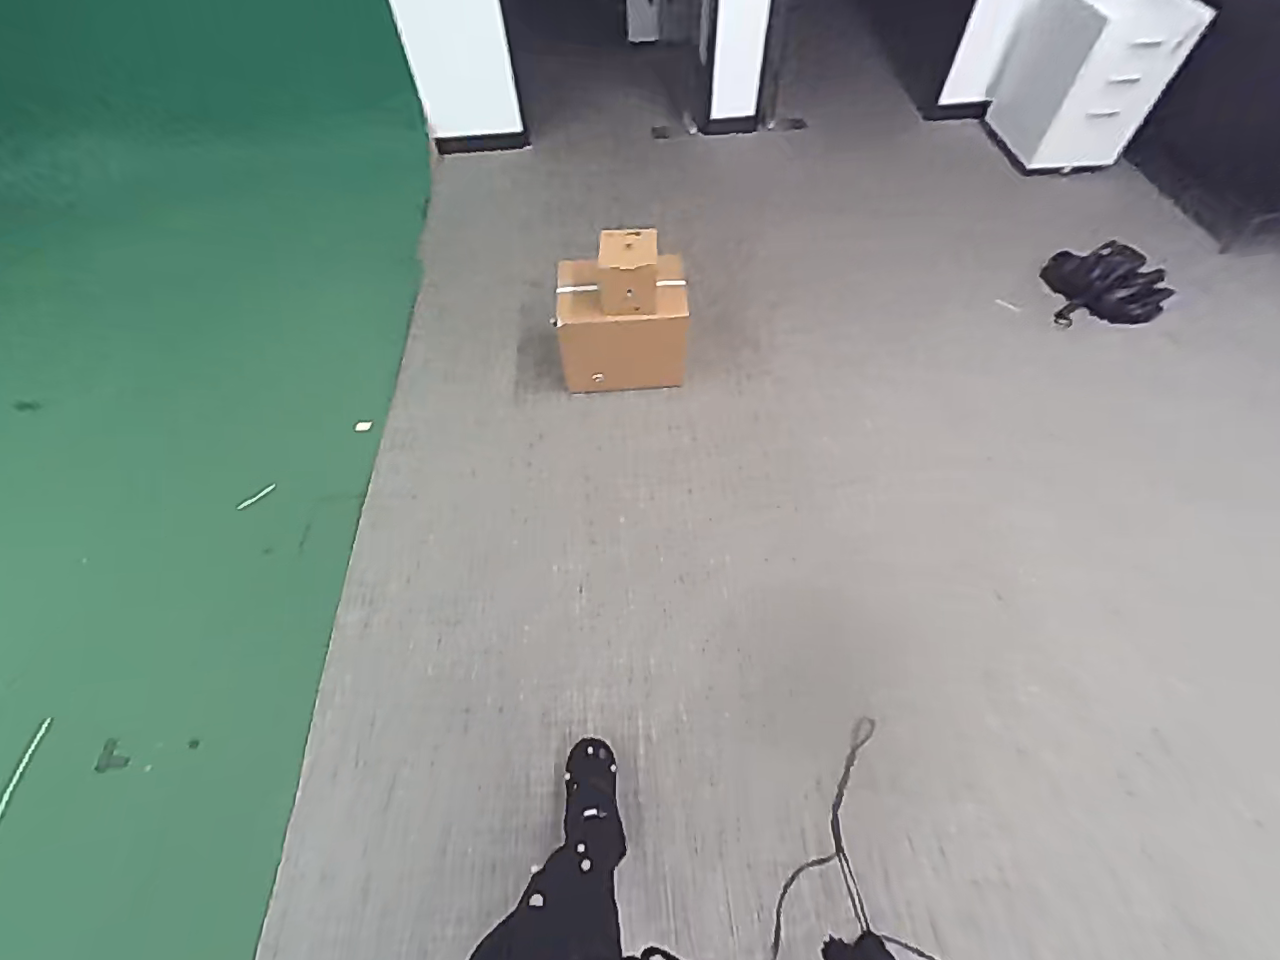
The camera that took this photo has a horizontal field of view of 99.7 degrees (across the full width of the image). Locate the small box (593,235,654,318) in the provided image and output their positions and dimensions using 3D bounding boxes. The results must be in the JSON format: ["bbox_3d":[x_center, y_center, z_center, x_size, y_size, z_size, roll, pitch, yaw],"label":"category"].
[{"bbox_3d":[-0.044,-0.600,1.611,0.168,0.176,0.179,-2,58,2],"label":"small box"}]
